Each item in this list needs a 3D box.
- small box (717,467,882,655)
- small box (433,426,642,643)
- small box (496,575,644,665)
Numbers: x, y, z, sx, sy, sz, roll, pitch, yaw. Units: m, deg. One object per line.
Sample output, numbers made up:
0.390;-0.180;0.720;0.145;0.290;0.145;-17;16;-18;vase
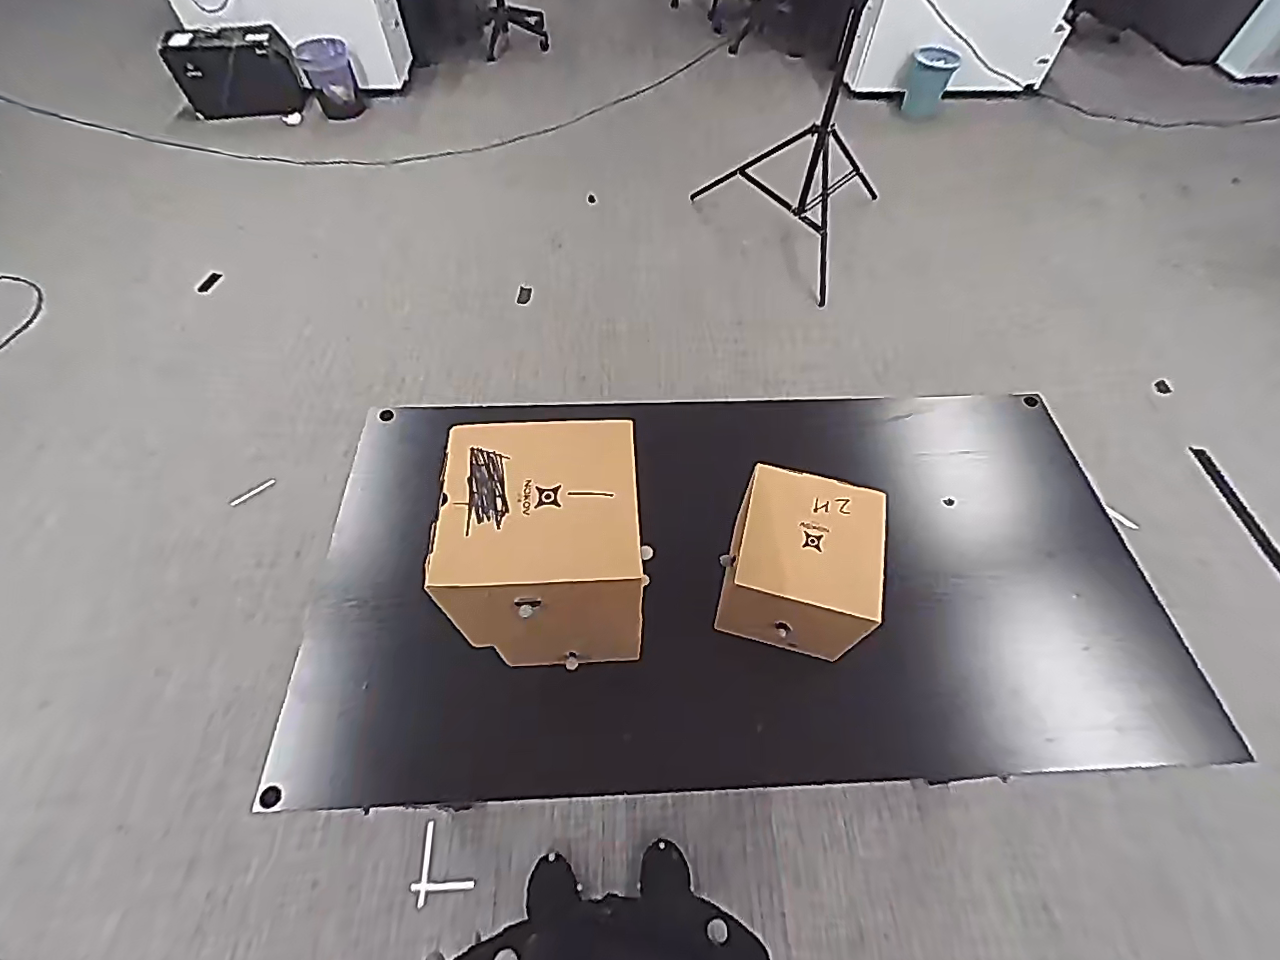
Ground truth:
0.204;0.114;0.722;0.168;0.176;0.179;14;58;7;small box
-0.089;0.062;0.554;0.179;0.176;0.168;-2;58;-3;small box
-0.090;0.135;0.704;0.179;0.176;0.168;-2;57;-3;small box
